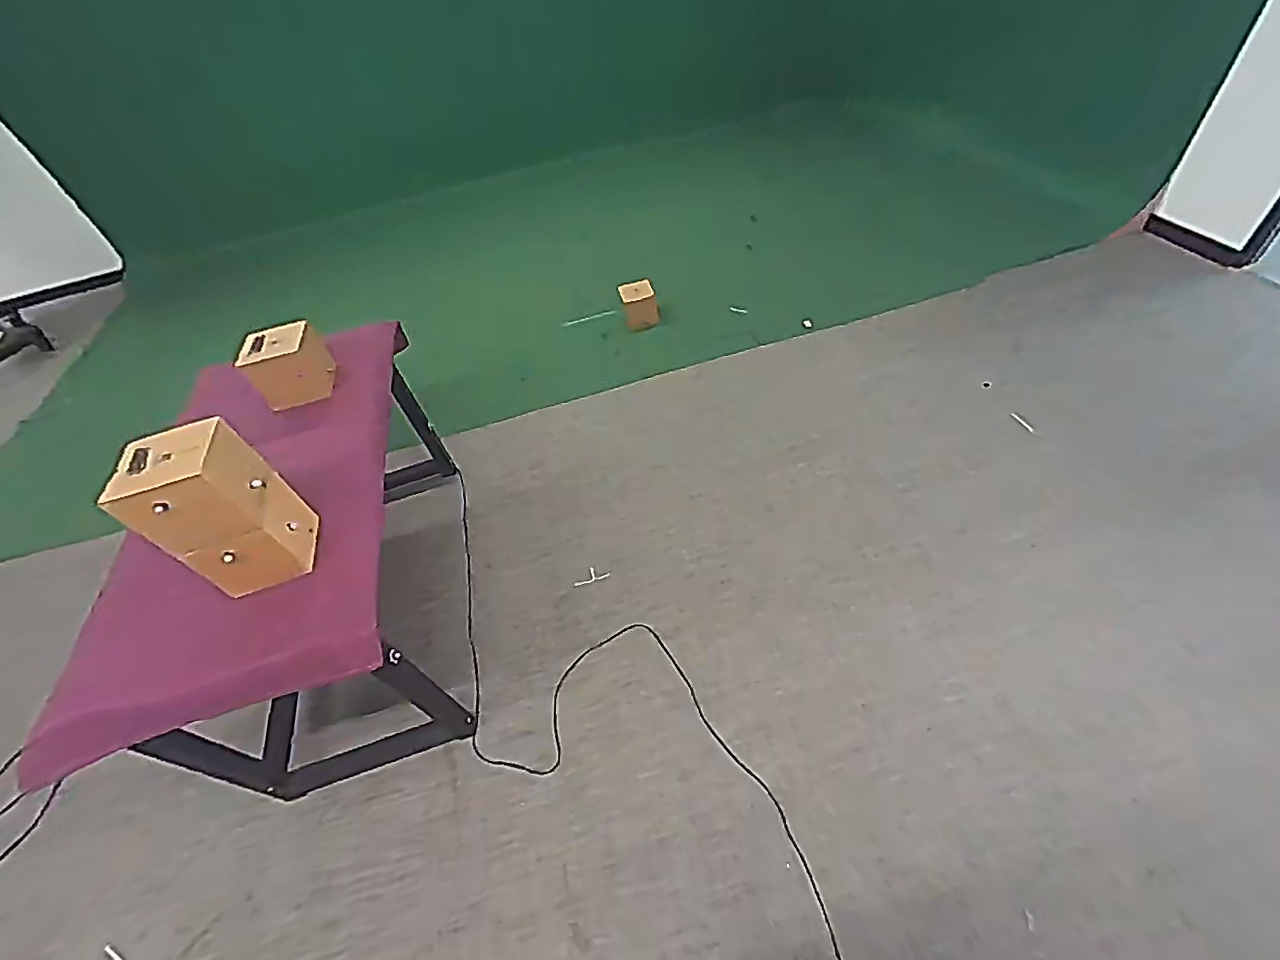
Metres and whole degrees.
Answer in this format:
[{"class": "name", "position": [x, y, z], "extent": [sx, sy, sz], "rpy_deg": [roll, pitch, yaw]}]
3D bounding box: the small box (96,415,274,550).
[{"class": "small box", "position": [-0.853, 0.010, 1.036], "extent": [0.179, 0.176, 0.168], "rpy_deg": [-17, 49, -6]}]

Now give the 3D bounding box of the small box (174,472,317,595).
[{"class": "small box", "position": [-0.827, 0.117, 1.158], "extent": [0.179, 0.176, 0.168], "rpy_deg": [-19, 48, -5]}]

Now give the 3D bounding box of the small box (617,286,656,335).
[{"class": "small box", "position": [-0.020, -0.904, 2.889], "extent": [0.168, 0.176, 0.179], "rpy_deg": [-15, 48, -3]}]
